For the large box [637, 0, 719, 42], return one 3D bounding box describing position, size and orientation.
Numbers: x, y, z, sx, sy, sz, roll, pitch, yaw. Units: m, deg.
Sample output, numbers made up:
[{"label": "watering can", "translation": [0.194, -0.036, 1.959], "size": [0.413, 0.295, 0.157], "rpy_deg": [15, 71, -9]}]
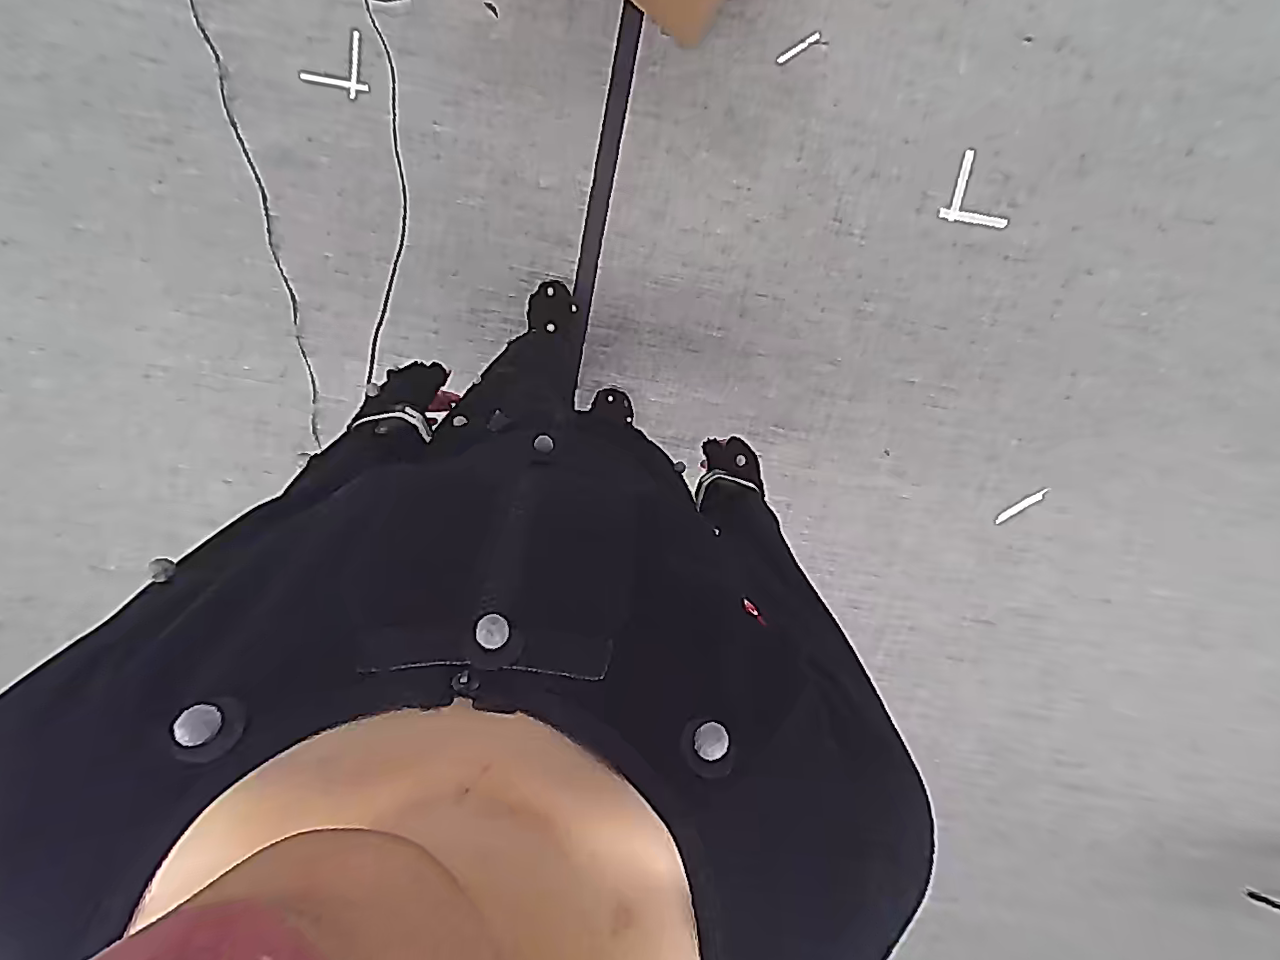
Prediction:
[{"label": "large box", "translation": [0.041, -1.193, 1.048], "size": [0.408, 0.320, 0.320], "rpy_deg": [34, 101, -9]}]
